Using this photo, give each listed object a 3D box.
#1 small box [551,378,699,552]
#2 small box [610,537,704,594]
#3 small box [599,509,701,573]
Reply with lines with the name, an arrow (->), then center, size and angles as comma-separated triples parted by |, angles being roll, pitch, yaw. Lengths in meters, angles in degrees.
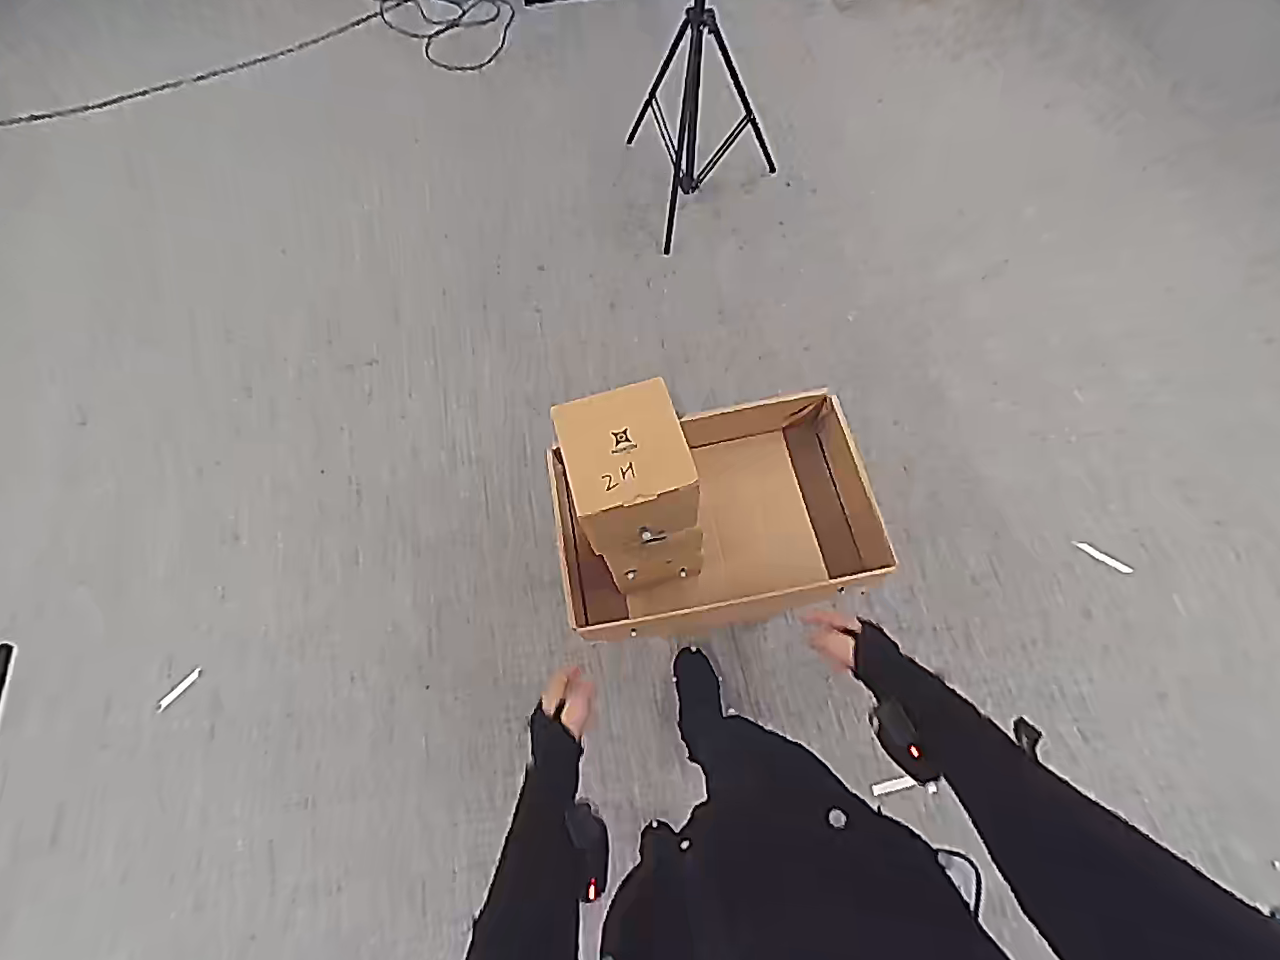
small box -> -0.020, -0.015, 0.793 | 0.168, 0.176, 0.179 | -16, 66, -3
small box -> 0.018, 0.118, 1.091 | 0.179, 0.176, 0.168 | -16, 67, -2
small box -> 0.004, 0.052, 0.942 | 0.168, 0.176, 0.179 | -14, 66, -2
